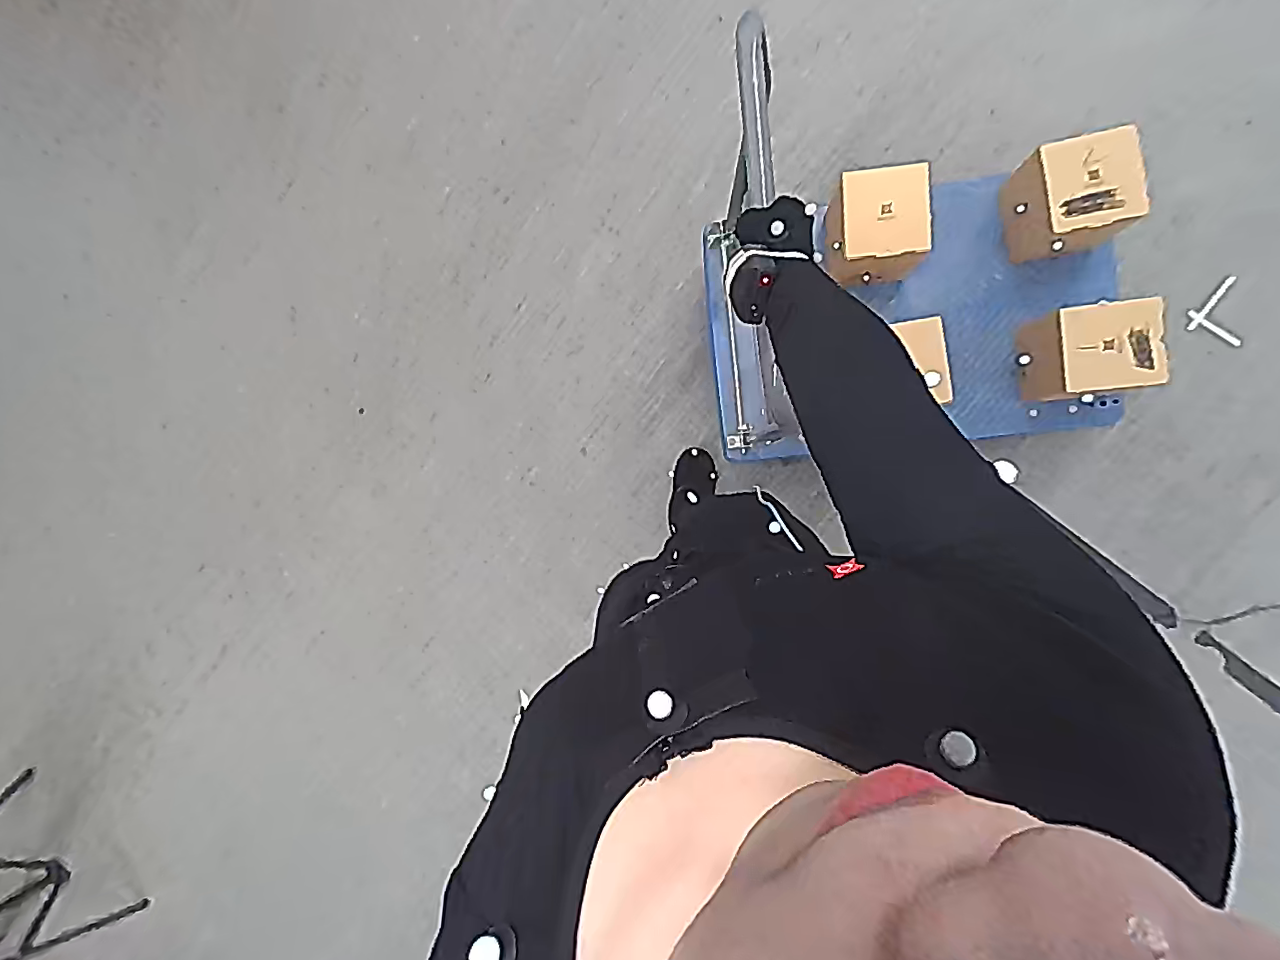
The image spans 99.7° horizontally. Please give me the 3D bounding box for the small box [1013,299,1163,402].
[{"bbox_3d":[0.906,-0.257,1.108,0.179,0.176,0.168,-5,90,9],"label":"small box"}]

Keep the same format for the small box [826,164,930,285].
[{"bbox_3d":[0.502,-0.539,1.160,0.168,0.176,0.179,-3,92,8],"label":"small box"}]

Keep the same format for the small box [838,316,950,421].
[{"bbox_3d":[0.535,-0.231,1.160,0.168,0.176,0.179,-8,90,8],"label":"small box"}]
